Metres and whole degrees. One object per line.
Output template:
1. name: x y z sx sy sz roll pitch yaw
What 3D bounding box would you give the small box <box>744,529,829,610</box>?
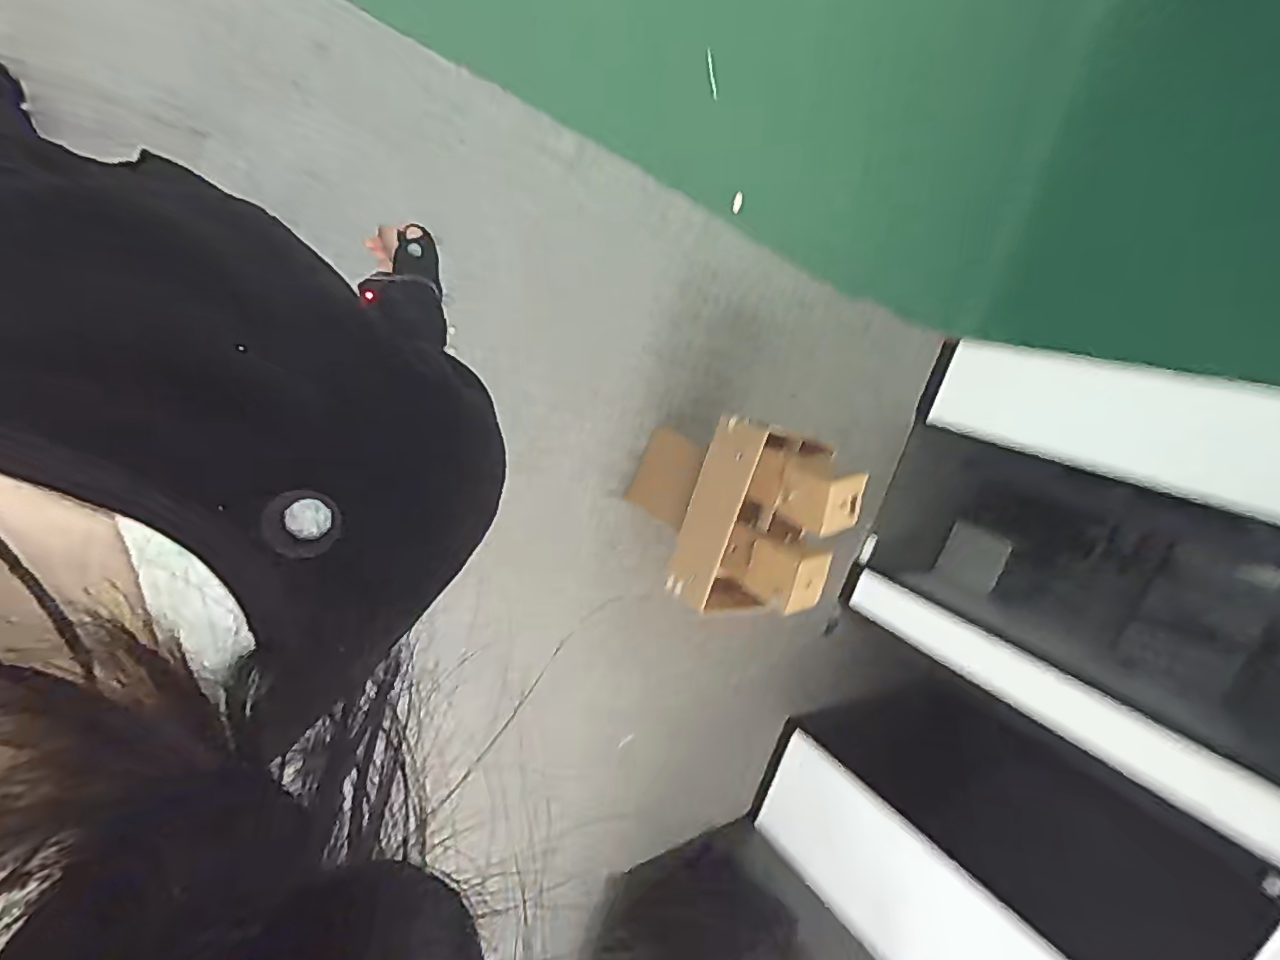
1. small box: 0.441 0.268 1.650 0.168 0.176 0.179 -4 111 -39

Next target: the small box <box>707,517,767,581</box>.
1. small box: 0.353 0.234 1.790 0.179 0.176 0.168 20 96 -42

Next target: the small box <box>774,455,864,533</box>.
1. small box: 0.530 0.033 1.613 0.179 0.176 0.168 -13 117 -34
